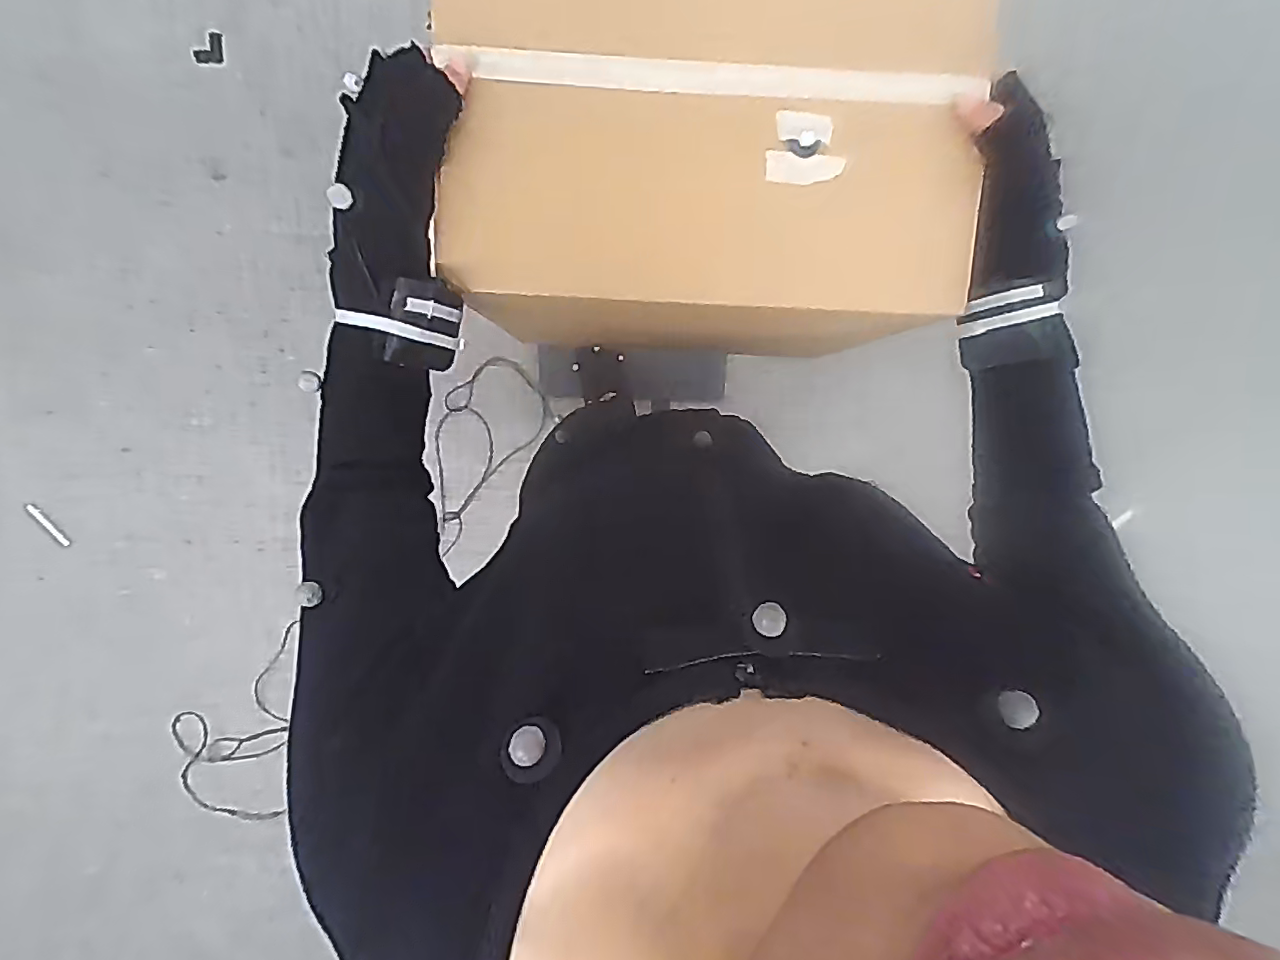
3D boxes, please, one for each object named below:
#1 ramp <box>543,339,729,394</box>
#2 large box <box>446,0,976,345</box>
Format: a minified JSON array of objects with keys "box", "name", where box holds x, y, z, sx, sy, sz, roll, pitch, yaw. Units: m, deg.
[{"box":[-0.002,-0.709,1.303,0.509,0.206,0.991,-1,97,-3],"name":"ramp"},{"box":[0.047,-0.319,0.557,0.408,0.320,0.320,2,97,-2],"name":"large box"}]
